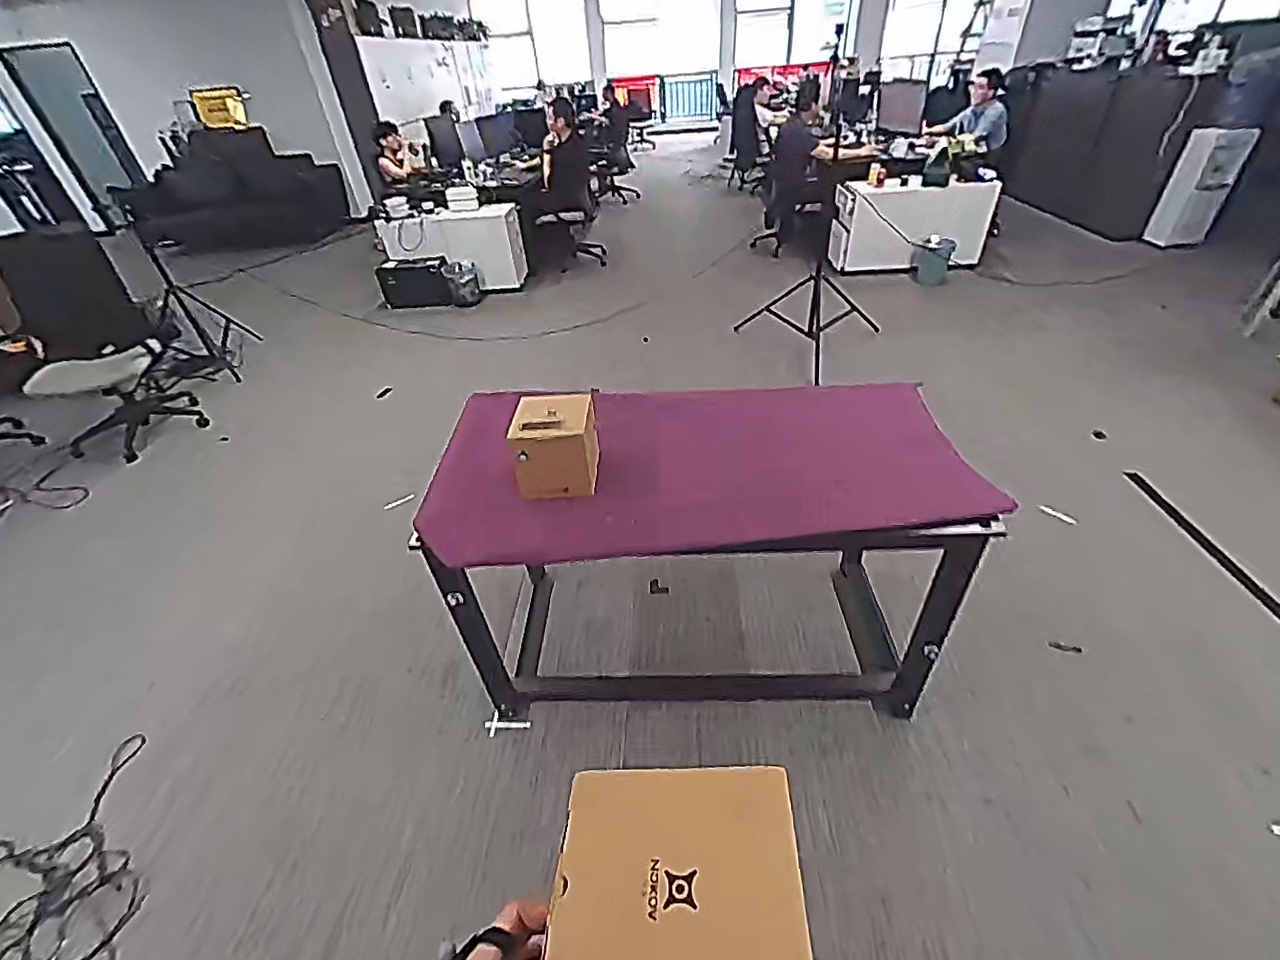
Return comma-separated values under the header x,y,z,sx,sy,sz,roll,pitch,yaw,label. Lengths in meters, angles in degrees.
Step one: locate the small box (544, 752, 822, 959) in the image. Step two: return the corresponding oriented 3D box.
x,y,z,sx,sy,sz,roll,pitch,yaw,label
0.041,0.335,0.417,0.179,0.176,0.168,-8,33,10,small box
